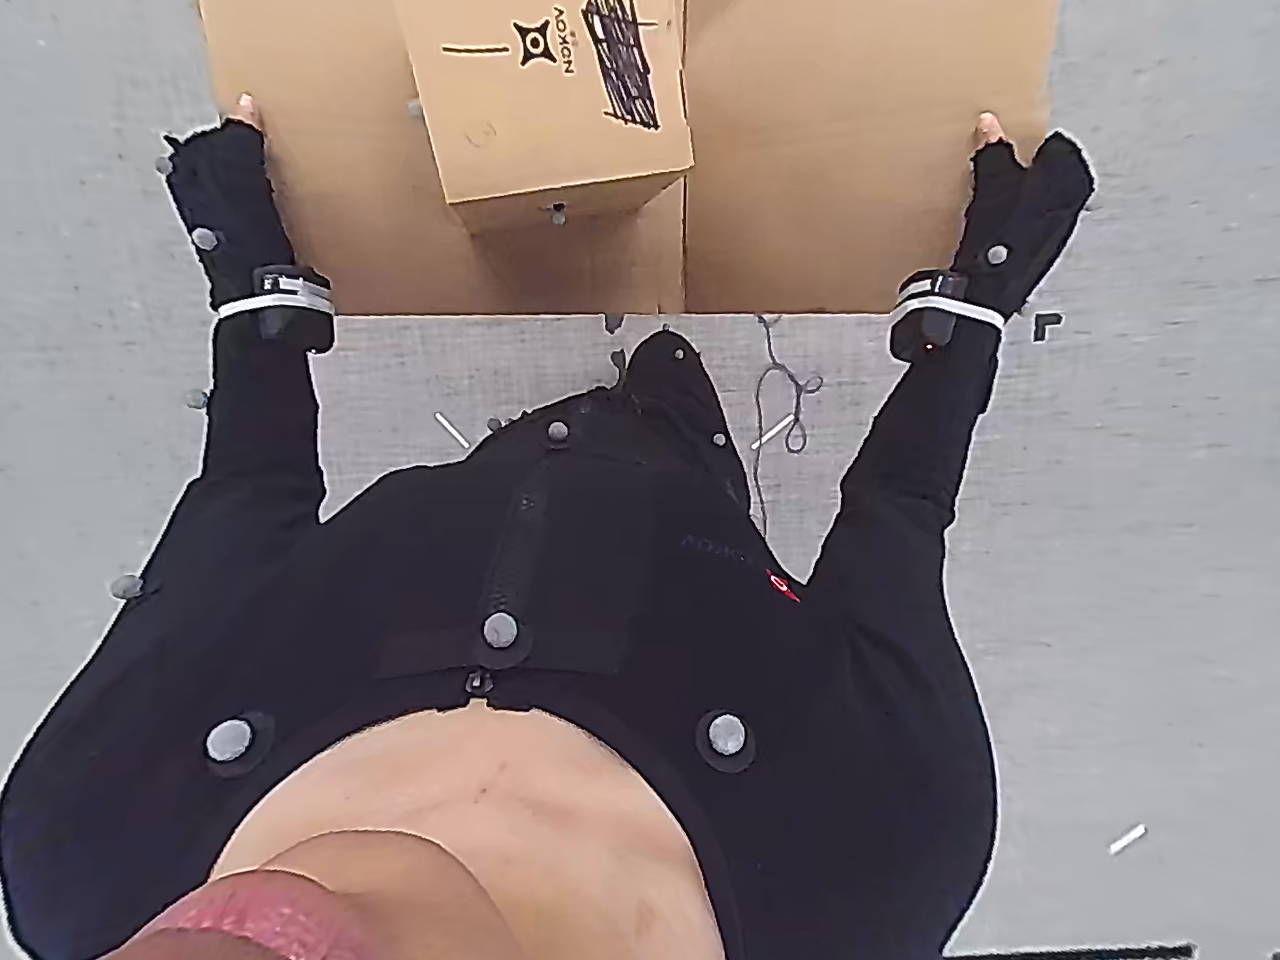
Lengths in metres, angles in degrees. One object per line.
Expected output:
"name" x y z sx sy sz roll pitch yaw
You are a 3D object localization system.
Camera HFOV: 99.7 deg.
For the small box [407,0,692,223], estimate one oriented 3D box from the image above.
"small box" -0.073 -0.312 0.429 0.179 0.176 0.168 -13 110 -8
